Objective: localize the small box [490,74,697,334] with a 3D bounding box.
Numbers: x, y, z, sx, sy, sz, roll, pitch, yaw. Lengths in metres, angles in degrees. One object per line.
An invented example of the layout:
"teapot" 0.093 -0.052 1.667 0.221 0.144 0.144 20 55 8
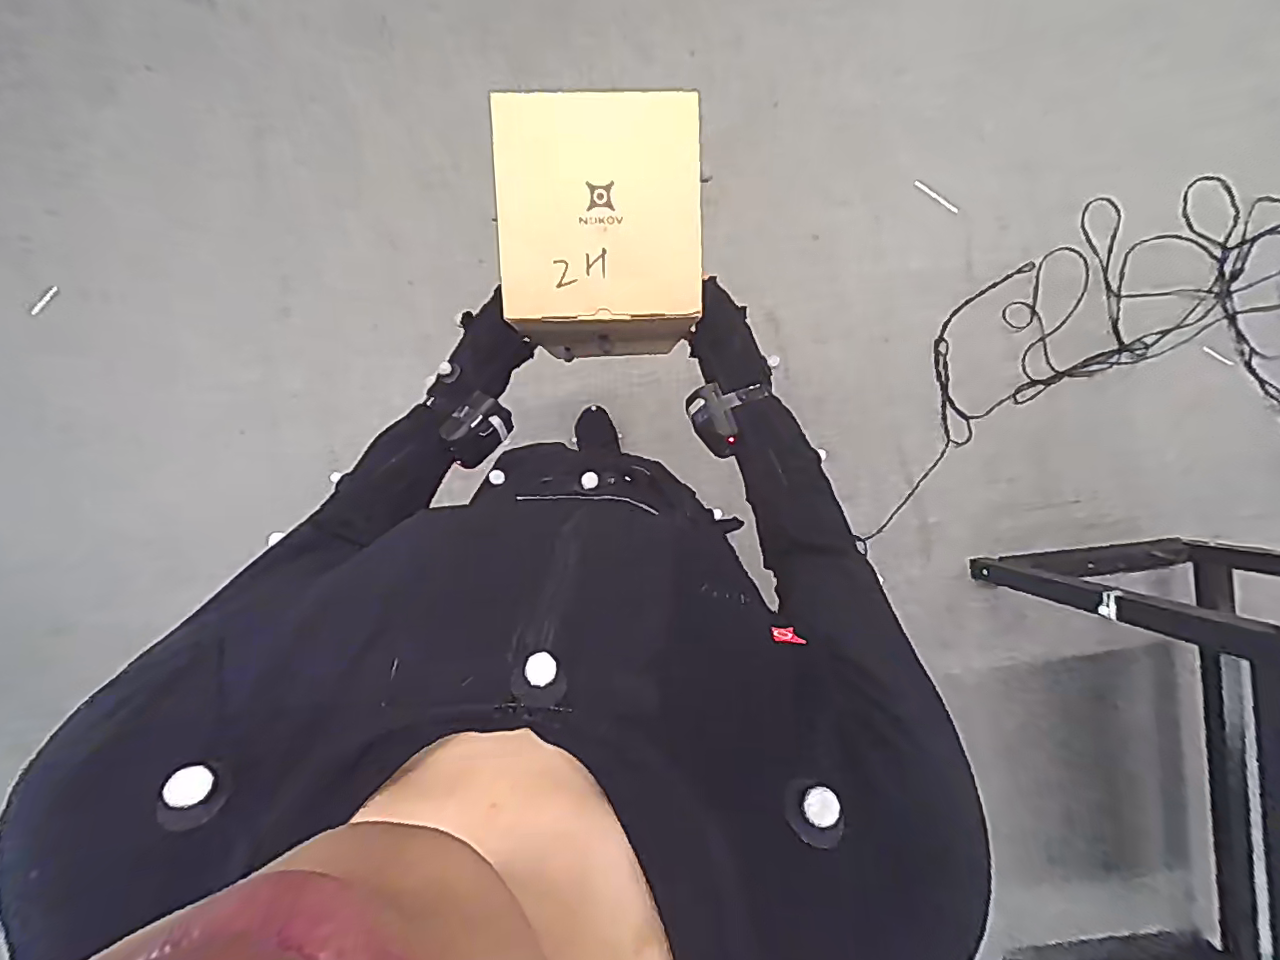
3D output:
"small box" -0.040 -0.240 0.512 0.168 0.176 0.179 -1 98 -2
